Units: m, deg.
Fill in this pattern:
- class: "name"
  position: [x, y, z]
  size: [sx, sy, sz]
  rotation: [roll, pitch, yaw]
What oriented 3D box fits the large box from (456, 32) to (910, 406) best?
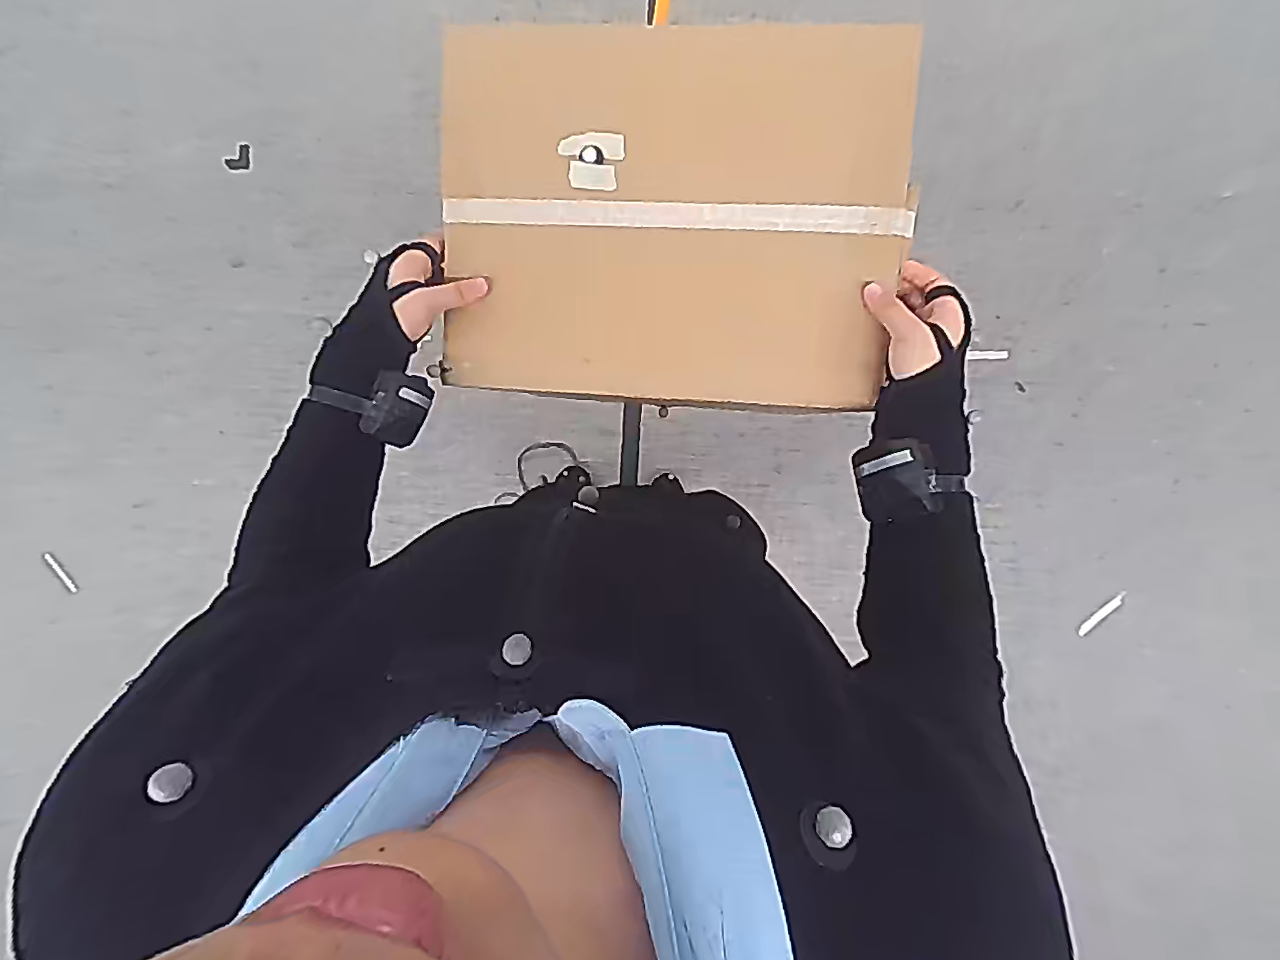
- class: "large box"
  position: [0.043, -0.249, 0.636]
  size: [0.408, 0.320, 0.320]
  rotation: [4, 96, 7]
